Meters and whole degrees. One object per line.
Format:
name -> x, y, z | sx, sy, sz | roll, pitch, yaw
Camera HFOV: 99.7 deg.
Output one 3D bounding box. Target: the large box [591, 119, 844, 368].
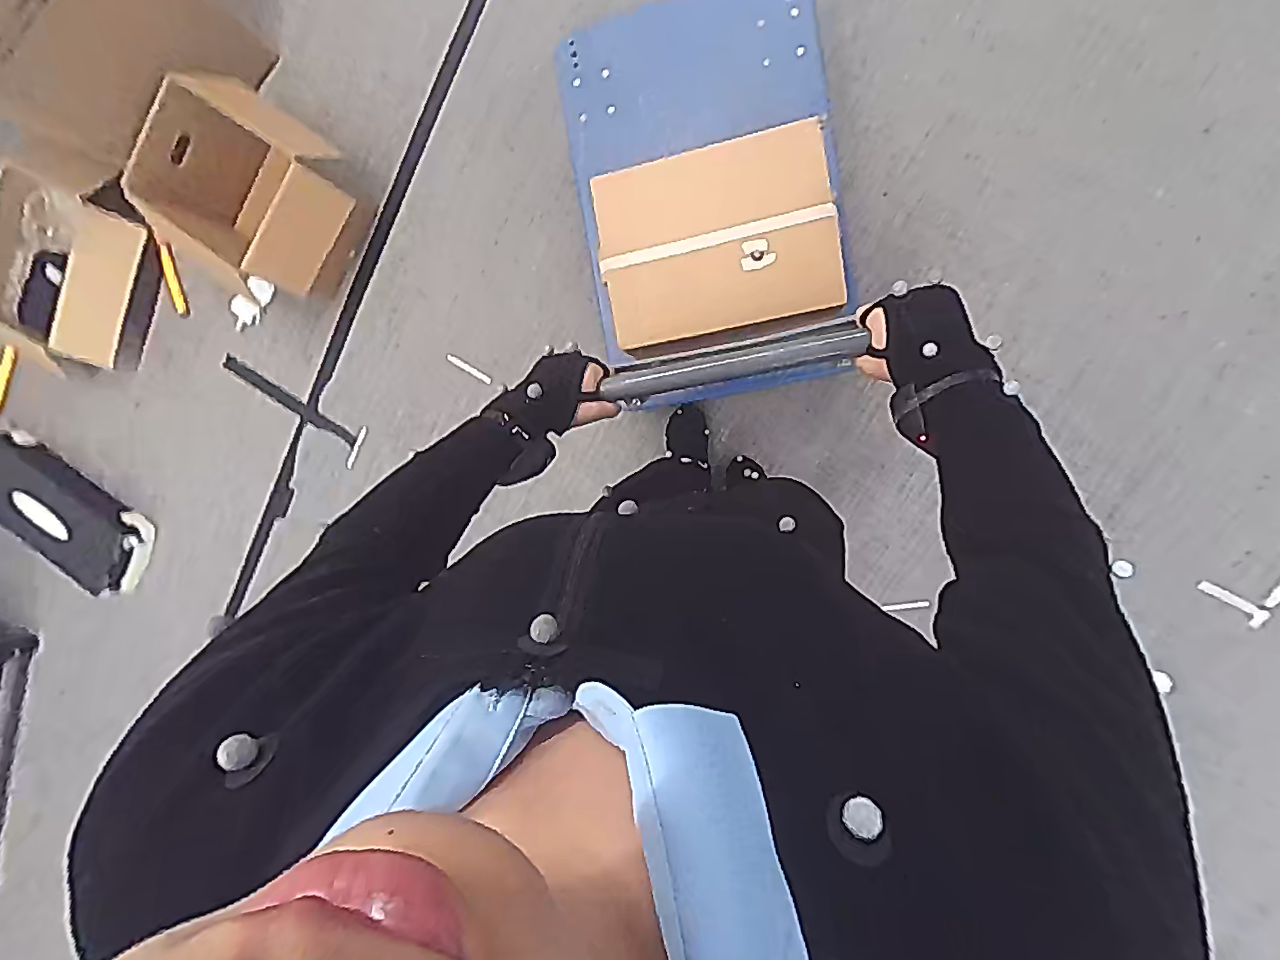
large box -> 0.153, -0.434, 1.094 | 0.408, 0.320, 0.320 | -10, 94, 10
